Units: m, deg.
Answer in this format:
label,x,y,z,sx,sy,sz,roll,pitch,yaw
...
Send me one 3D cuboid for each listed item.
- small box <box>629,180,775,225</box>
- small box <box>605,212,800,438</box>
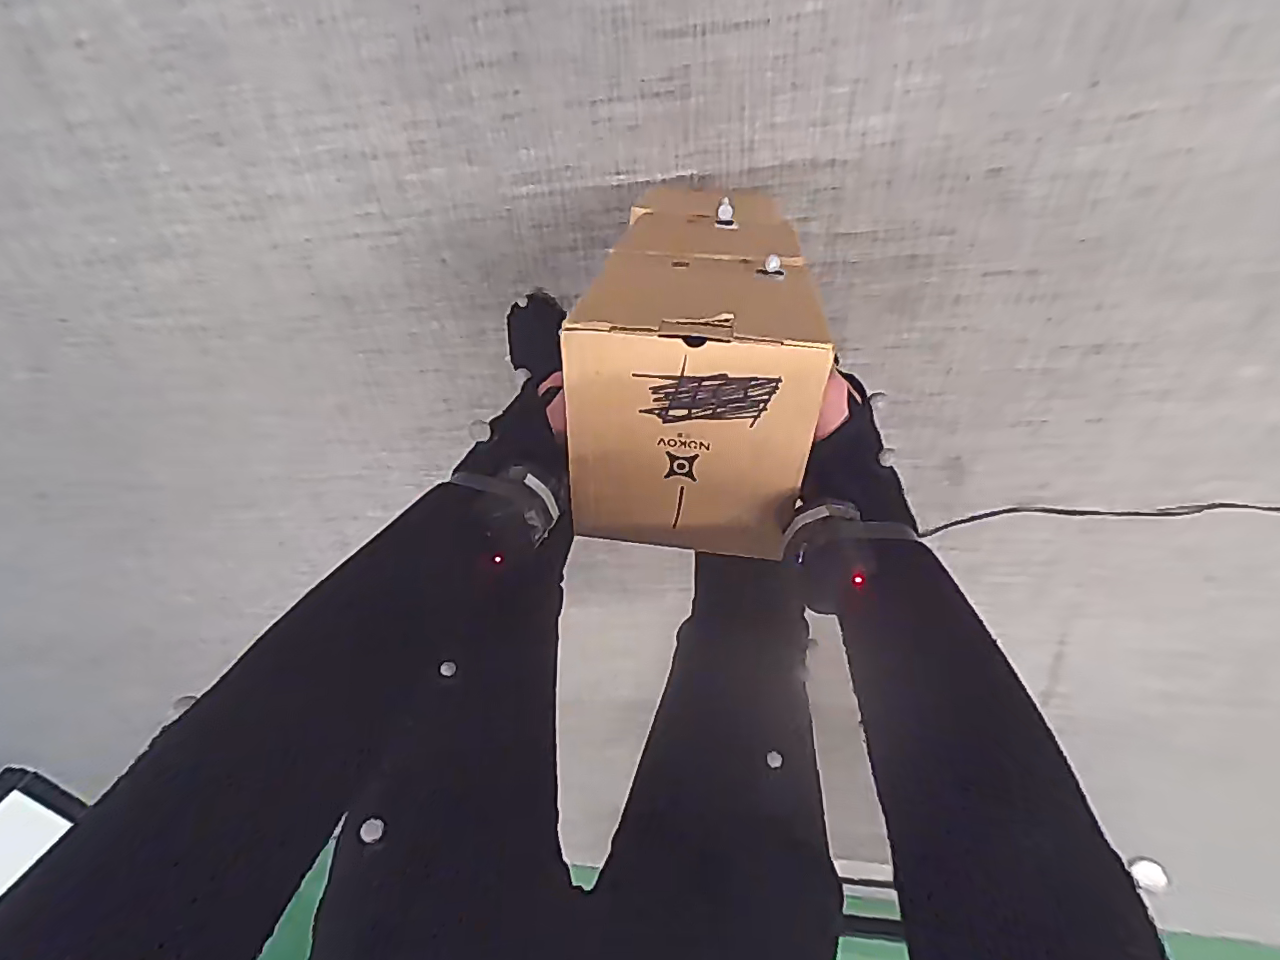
label,x,y,z,sx,sy,sz,roll,pitch,yaw
small box,0.077,-0.264,0.689,0.168,0.176,0.179,8,128,5
small box,0.063,-0.165,0.559,0.168,0.176,0.179,5,126,7
